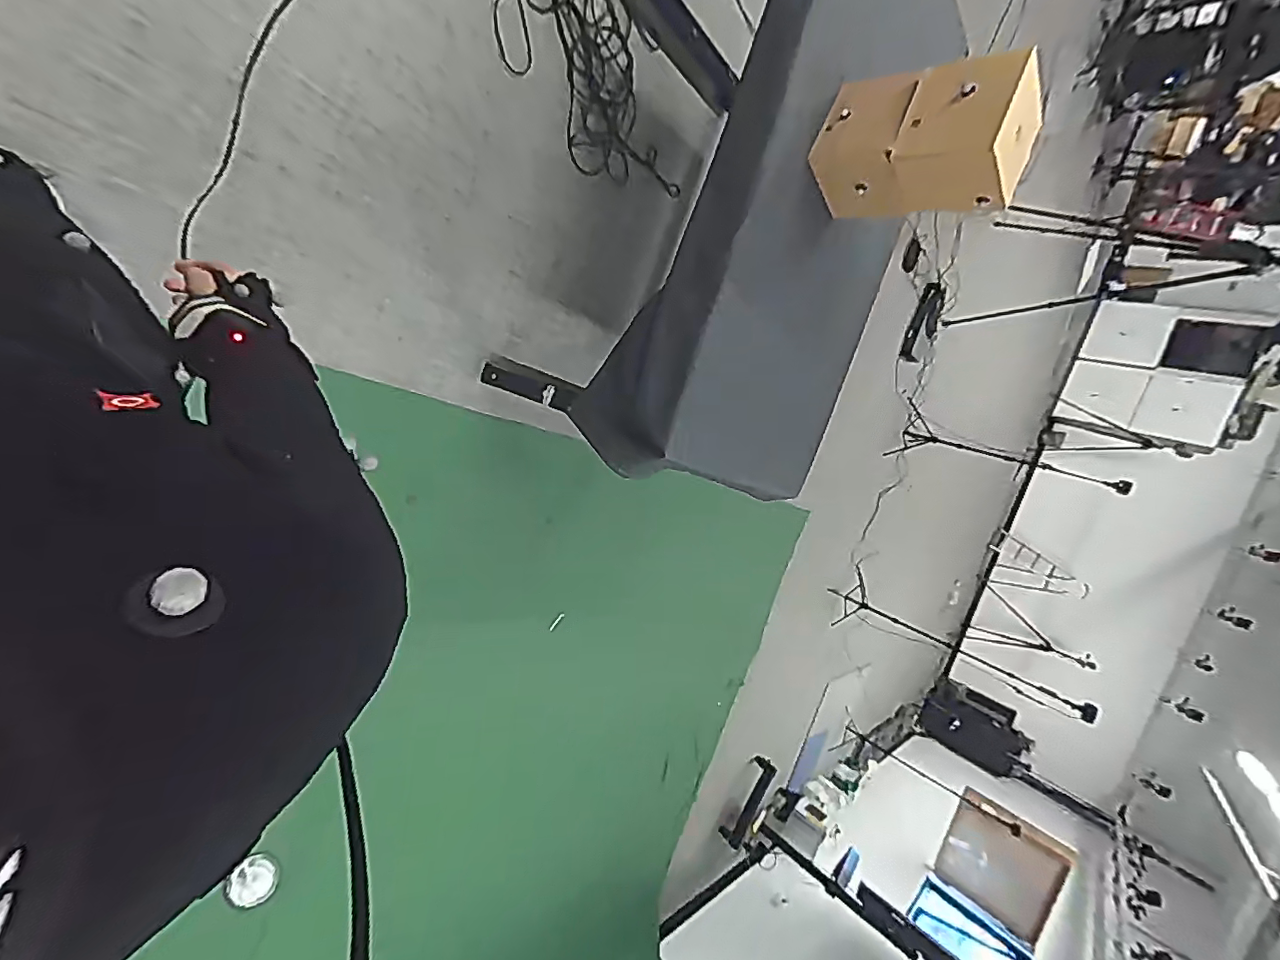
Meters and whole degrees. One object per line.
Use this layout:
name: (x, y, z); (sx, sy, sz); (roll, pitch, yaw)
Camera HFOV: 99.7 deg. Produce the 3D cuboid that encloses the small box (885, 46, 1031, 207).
small box: (0.557, -0.602, 0.952); (0.179, 0.176, 0.168); (17, 96, -50)
